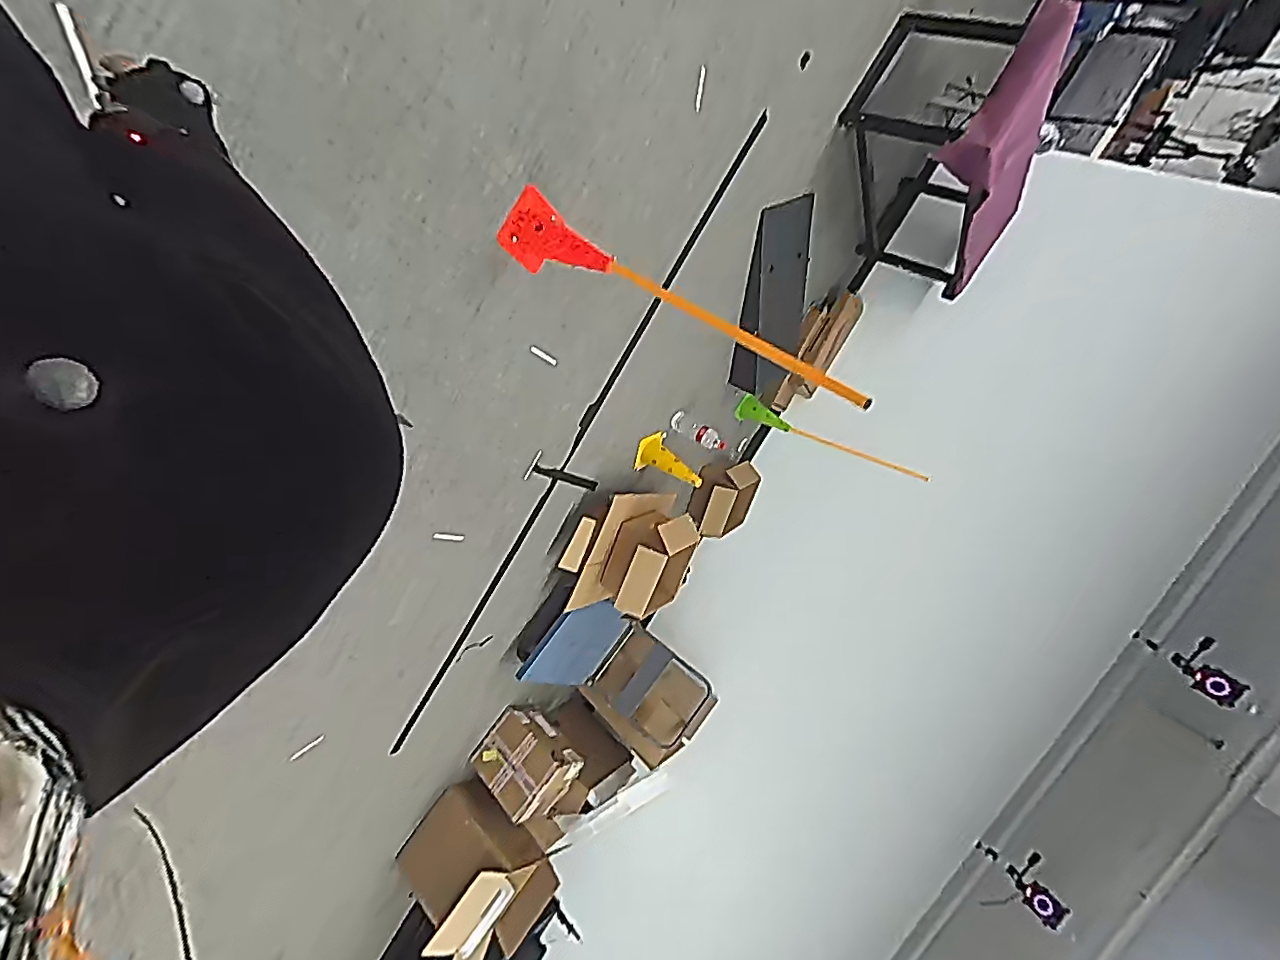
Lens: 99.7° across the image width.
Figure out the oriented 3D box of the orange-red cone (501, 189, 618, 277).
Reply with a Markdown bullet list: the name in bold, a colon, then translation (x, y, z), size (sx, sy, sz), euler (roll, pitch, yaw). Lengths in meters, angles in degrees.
- **orange-red cone**: translation (-0.202, -0.676, 1.592), size (0.198, 0.360, 0.199), euler (-57, 153, 3)

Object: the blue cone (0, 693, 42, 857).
- **blue cone**: translation (-1.411, 0.652, 1.163), size (0.193, 0.380, 0.192), euler (-57, 152, 2)
